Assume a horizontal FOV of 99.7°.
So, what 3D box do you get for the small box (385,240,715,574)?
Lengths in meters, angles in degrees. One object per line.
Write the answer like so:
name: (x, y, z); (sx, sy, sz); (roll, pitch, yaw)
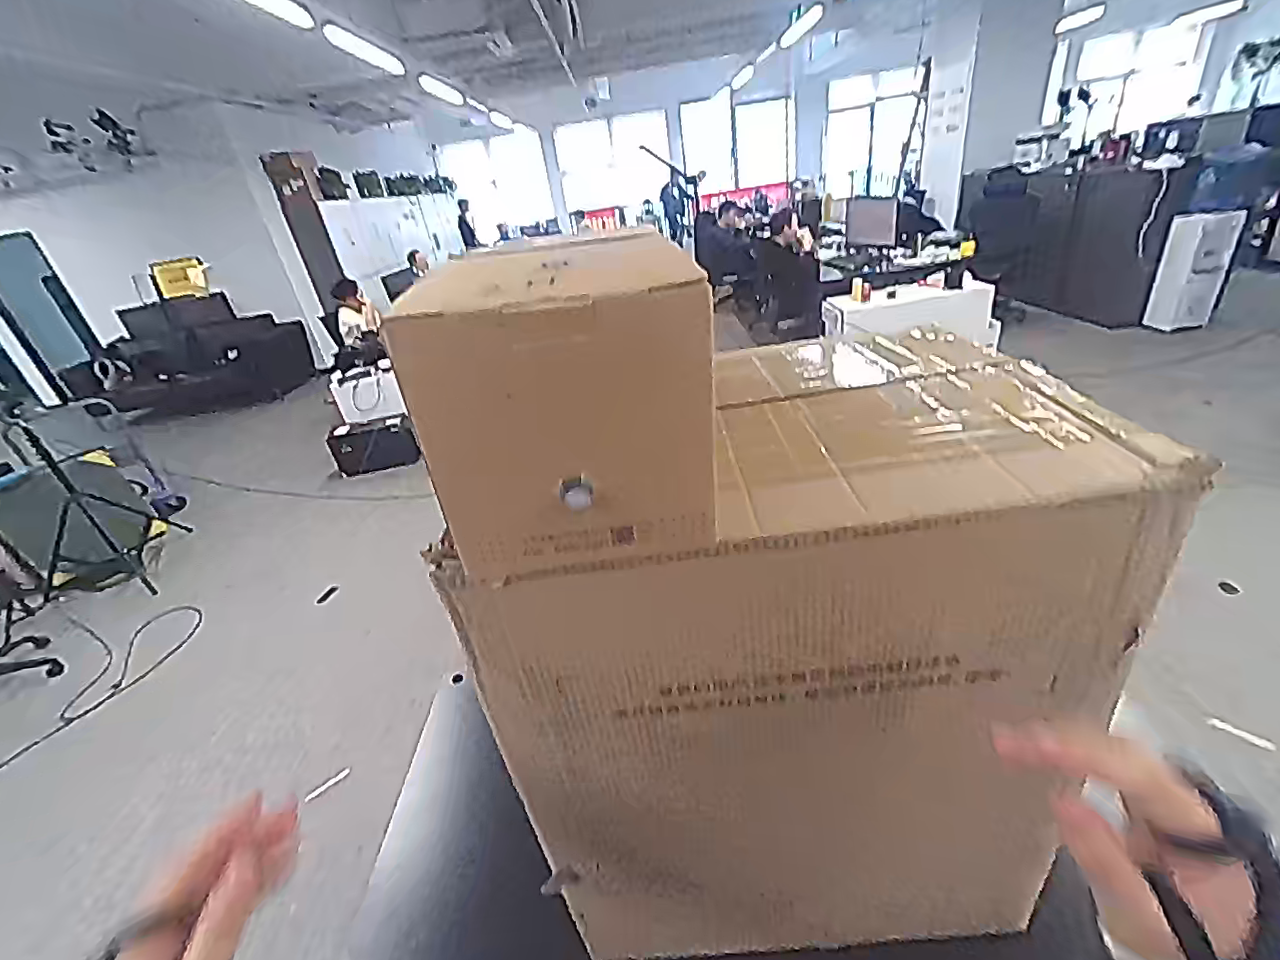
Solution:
small box: (-0.045, -0.059, 0.377); (0.168, 0.176, 0.179); (-8, 32, -2)
